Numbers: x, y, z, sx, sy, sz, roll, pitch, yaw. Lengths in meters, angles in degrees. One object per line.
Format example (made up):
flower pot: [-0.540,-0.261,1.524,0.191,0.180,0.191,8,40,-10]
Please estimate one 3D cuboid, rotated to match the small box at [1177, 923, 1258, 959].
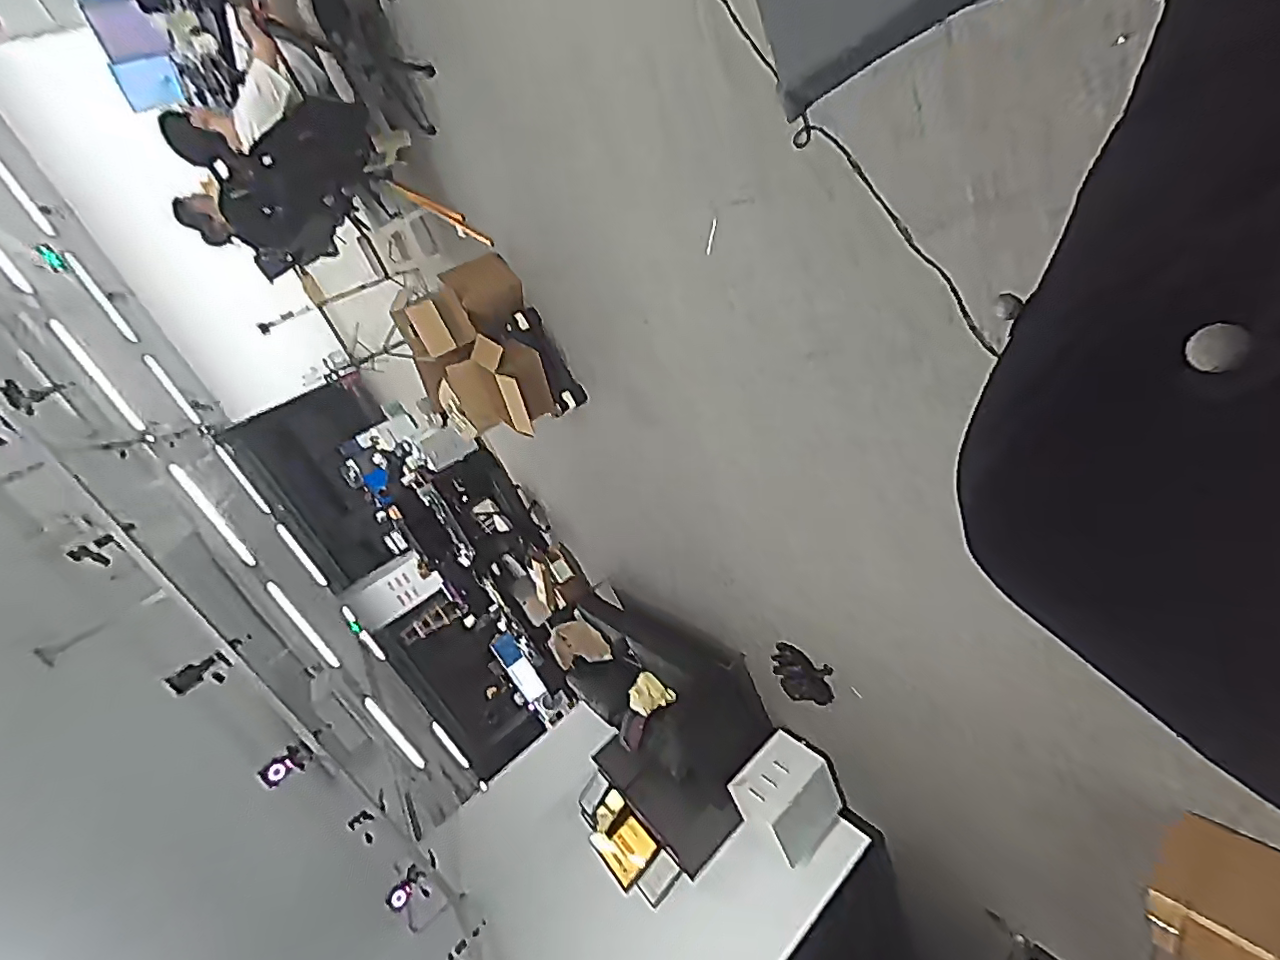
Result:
small box: [1.581,1.367,1.456,0.179,0.176,0.168,13,132,58]
